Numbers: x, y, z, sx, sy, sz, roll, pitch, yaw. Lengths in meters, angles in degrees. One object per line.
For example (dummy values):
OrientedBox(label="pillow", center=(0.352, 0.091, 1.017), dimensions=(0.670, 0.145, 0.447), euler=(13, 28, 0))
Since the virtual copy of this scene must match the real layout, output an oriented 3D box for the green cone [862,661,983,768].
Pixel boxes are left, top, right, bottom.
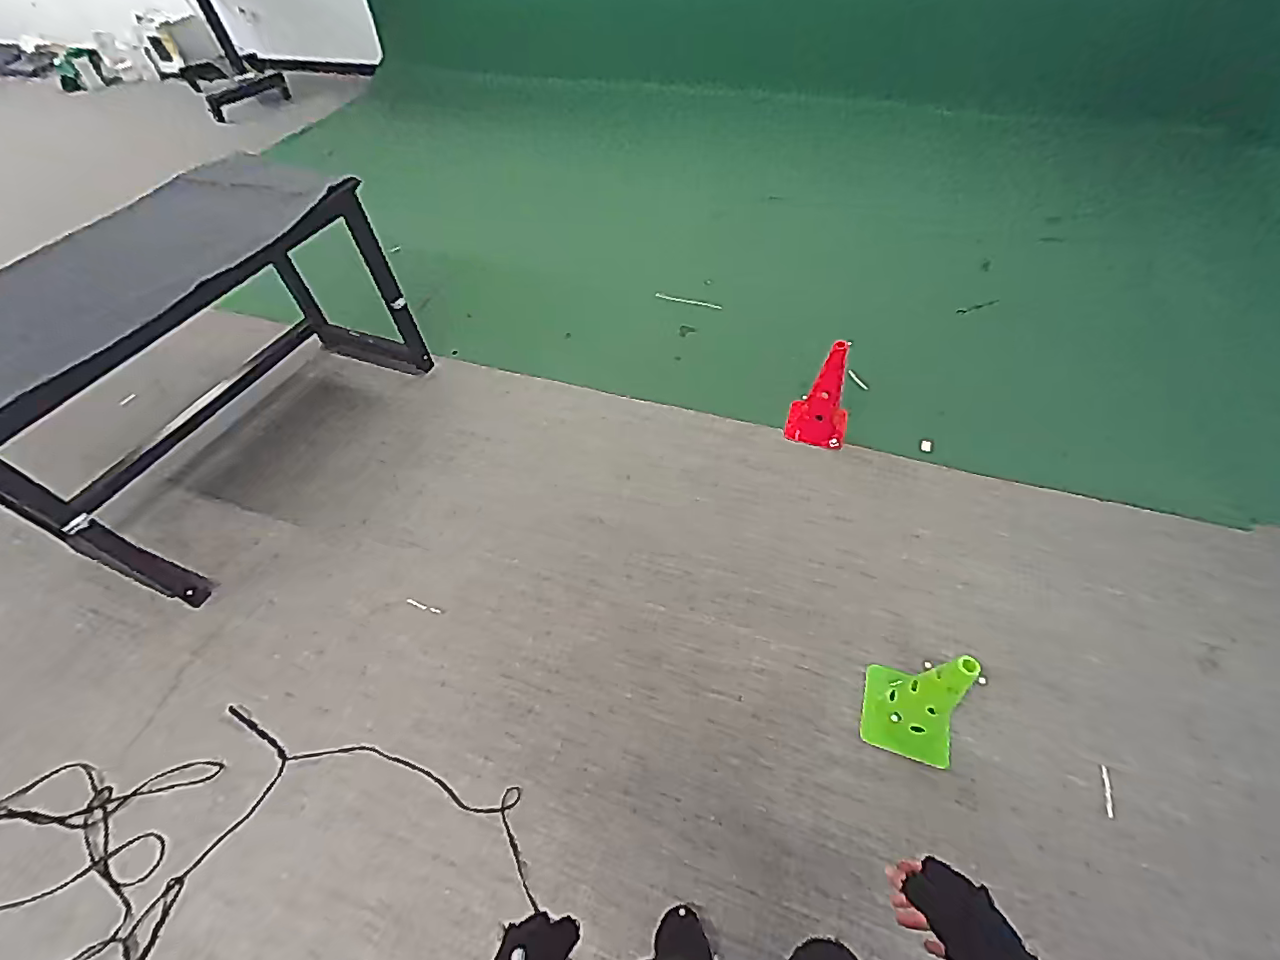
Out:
OrientedBox(label="green cone", center=(0.644, 0.468, 1.183), dimensions=(0.200, 0.368, 0.202), euler=(13, 55, 13))
